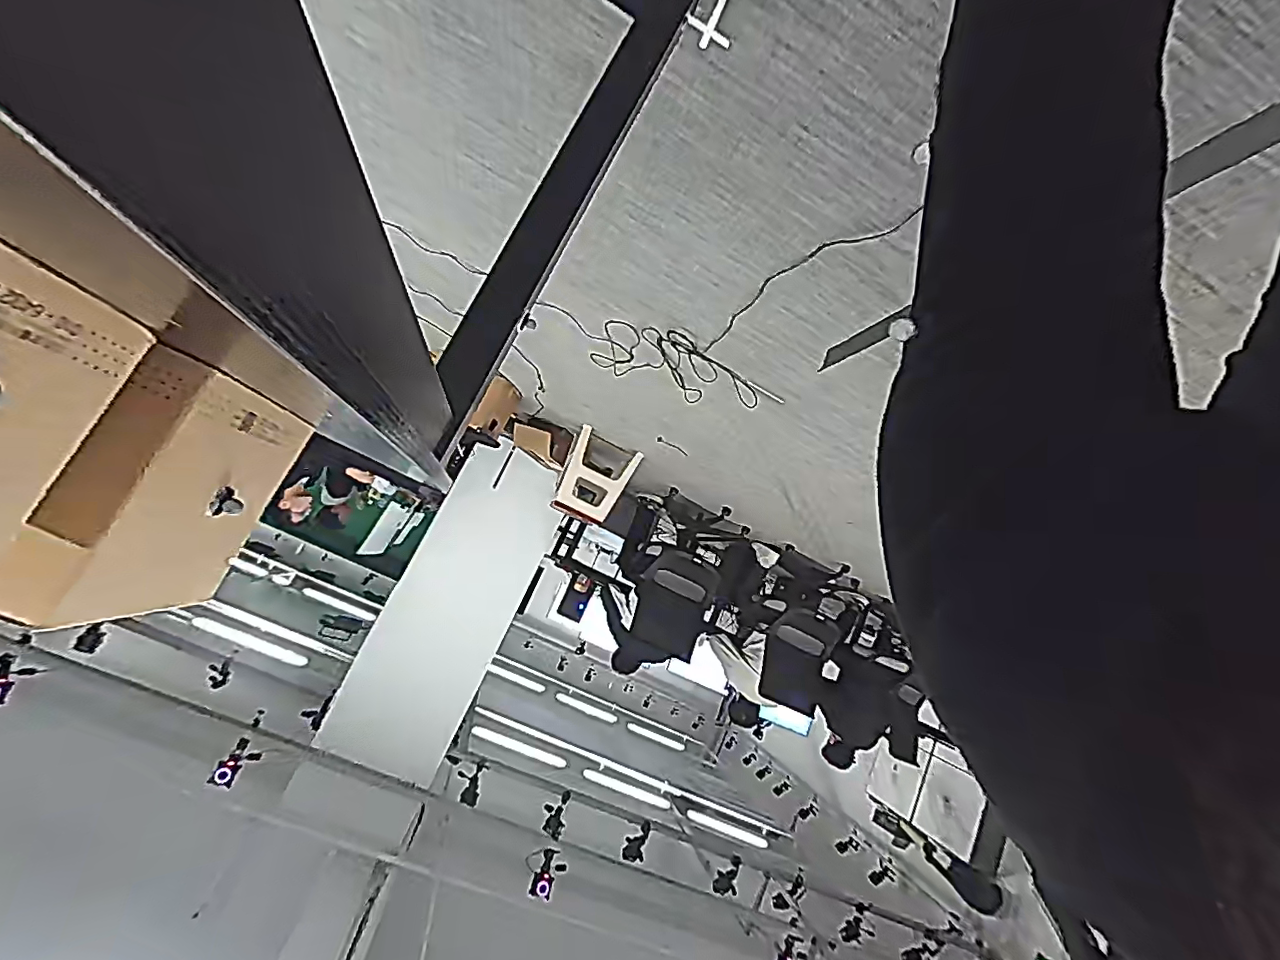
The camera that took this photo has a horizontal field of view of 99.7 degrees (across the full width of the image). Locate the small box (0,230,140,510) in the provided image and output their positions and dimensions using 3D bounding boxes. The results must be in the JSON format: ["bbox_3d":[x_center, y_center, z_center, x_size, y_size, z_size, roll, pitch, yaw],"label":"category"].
[{"bbox_3d":[-0.324,-0.048,0.157,0.179,0.176,0.168,27,169,-11],"label":"small box"}]
